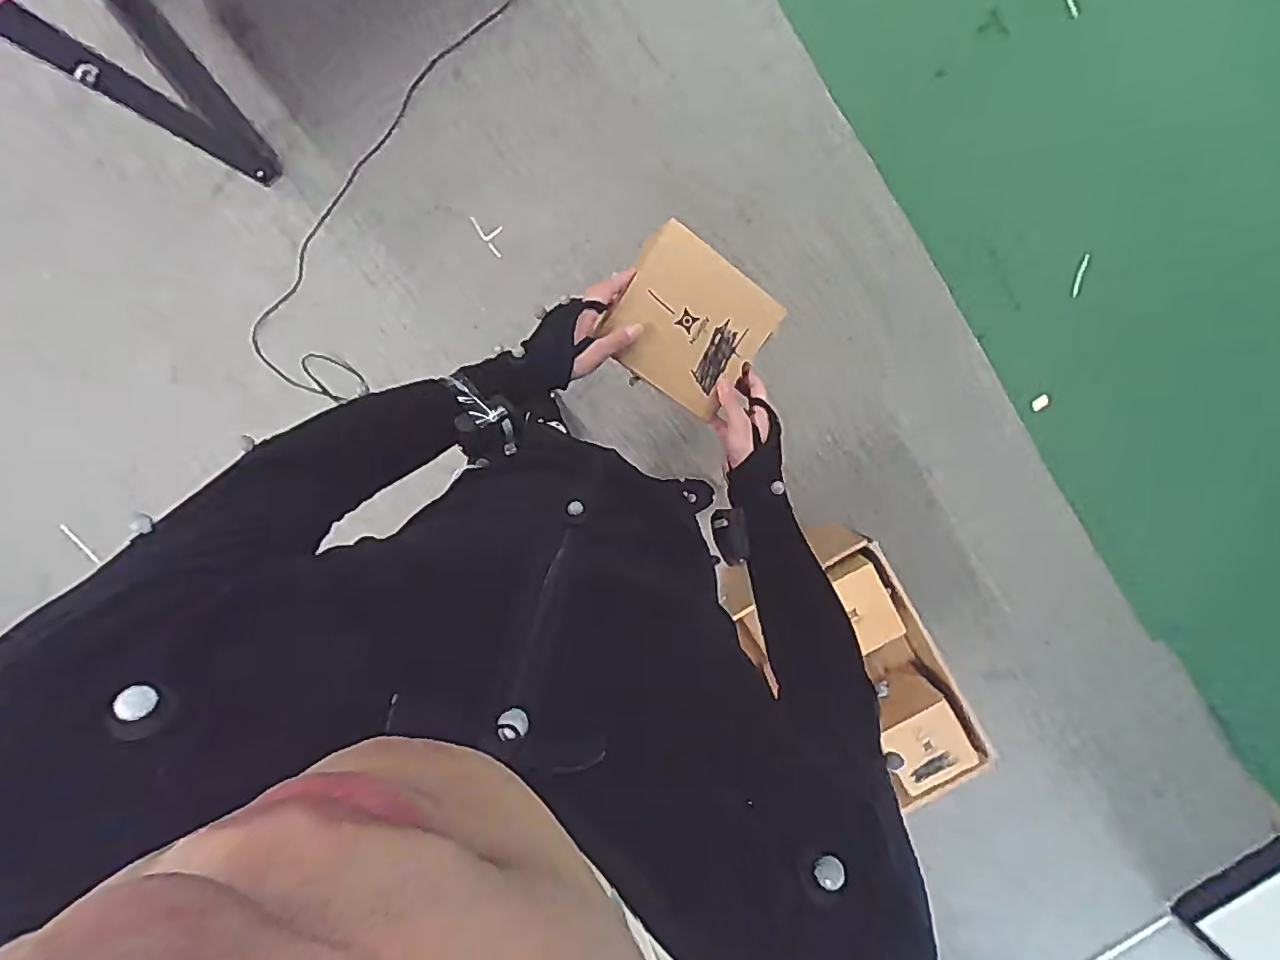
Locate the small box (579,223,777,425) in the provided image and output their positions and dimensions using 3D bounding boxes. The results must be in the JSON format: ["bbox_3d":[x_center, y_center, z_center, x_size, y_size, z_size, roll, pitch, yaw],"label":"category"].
[{"bbox_3d":[0.037,-0.197,0.702,0.179,0.176,0.168,32,98,-16],"label":"small box"}]
